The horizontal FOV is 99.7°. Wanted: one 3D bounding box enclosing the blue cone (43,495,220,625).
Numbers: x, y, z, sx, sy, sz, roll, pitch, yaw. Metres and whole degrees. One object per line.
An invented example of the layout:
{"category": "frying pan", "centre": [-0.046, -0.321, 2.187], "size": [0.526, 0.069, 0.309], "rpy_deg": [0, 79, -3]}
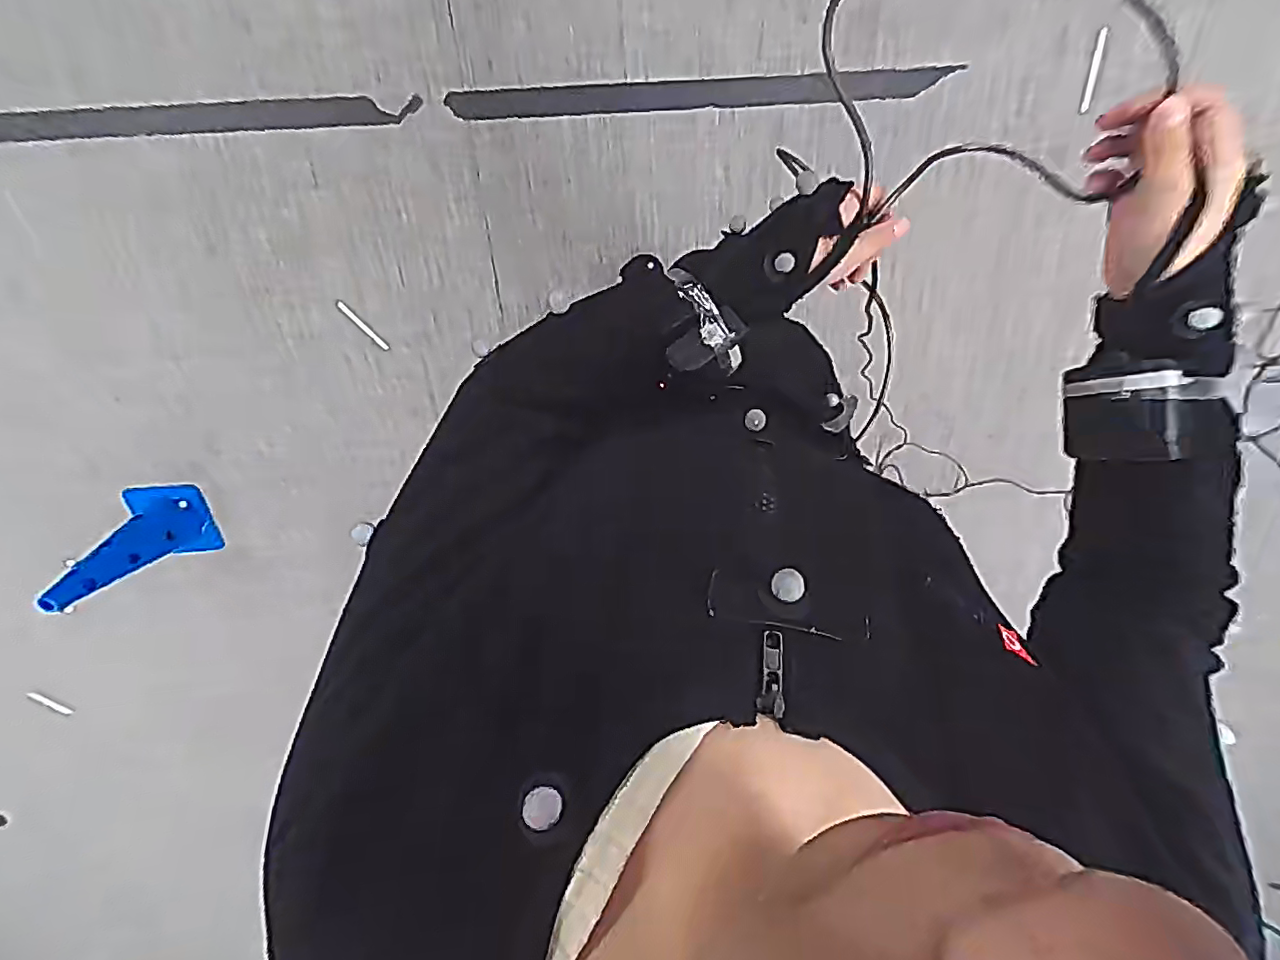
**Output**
{"category": "blue cone", "centre": [-1.226, 0.197, 1.281], "size": [0.193, 0.380, 0.192], "rpy_deg": [-3, 116, -1]}
